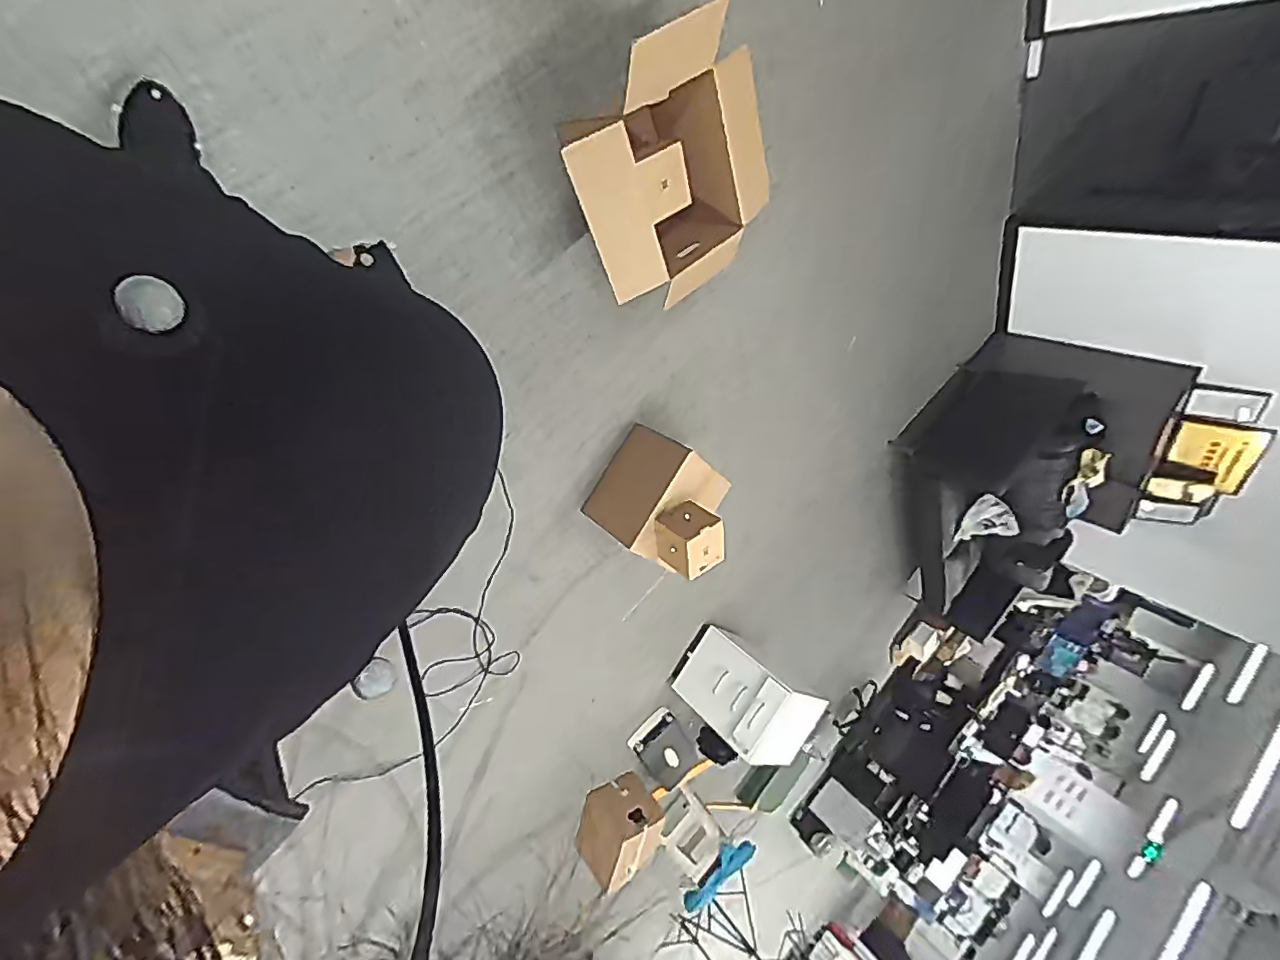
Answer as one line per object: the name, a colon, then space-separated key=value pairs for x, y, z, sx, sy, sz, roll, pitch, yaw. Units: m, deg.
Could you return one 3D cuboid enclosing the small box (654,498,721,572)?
small box: x=0.163 y=0.181 z=1.875 sx=0.168 sy=0.176 sz=0.179 roll=-27 pitch=127 yaw=-28
